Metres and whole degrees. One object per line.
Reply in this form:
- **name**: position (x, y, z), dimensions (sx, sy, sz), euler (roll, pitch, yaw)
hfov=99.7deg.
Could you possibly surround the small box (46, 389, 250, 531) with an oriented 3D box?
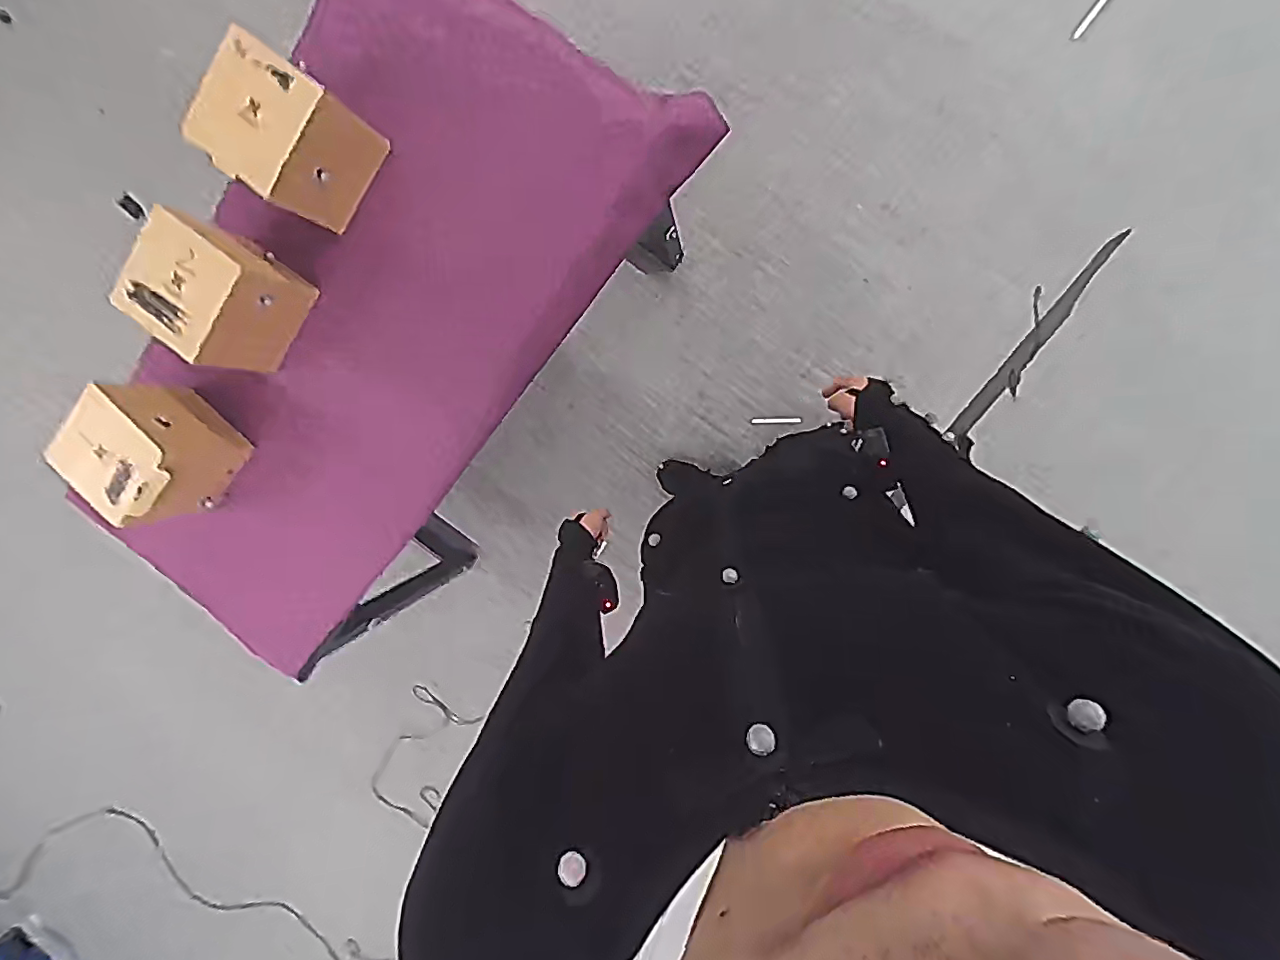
- **small box**: position (-0.845, -0.042, 0.947), dimensions (0.179, 0.176, 0.168), euler (42, 100, 2)
